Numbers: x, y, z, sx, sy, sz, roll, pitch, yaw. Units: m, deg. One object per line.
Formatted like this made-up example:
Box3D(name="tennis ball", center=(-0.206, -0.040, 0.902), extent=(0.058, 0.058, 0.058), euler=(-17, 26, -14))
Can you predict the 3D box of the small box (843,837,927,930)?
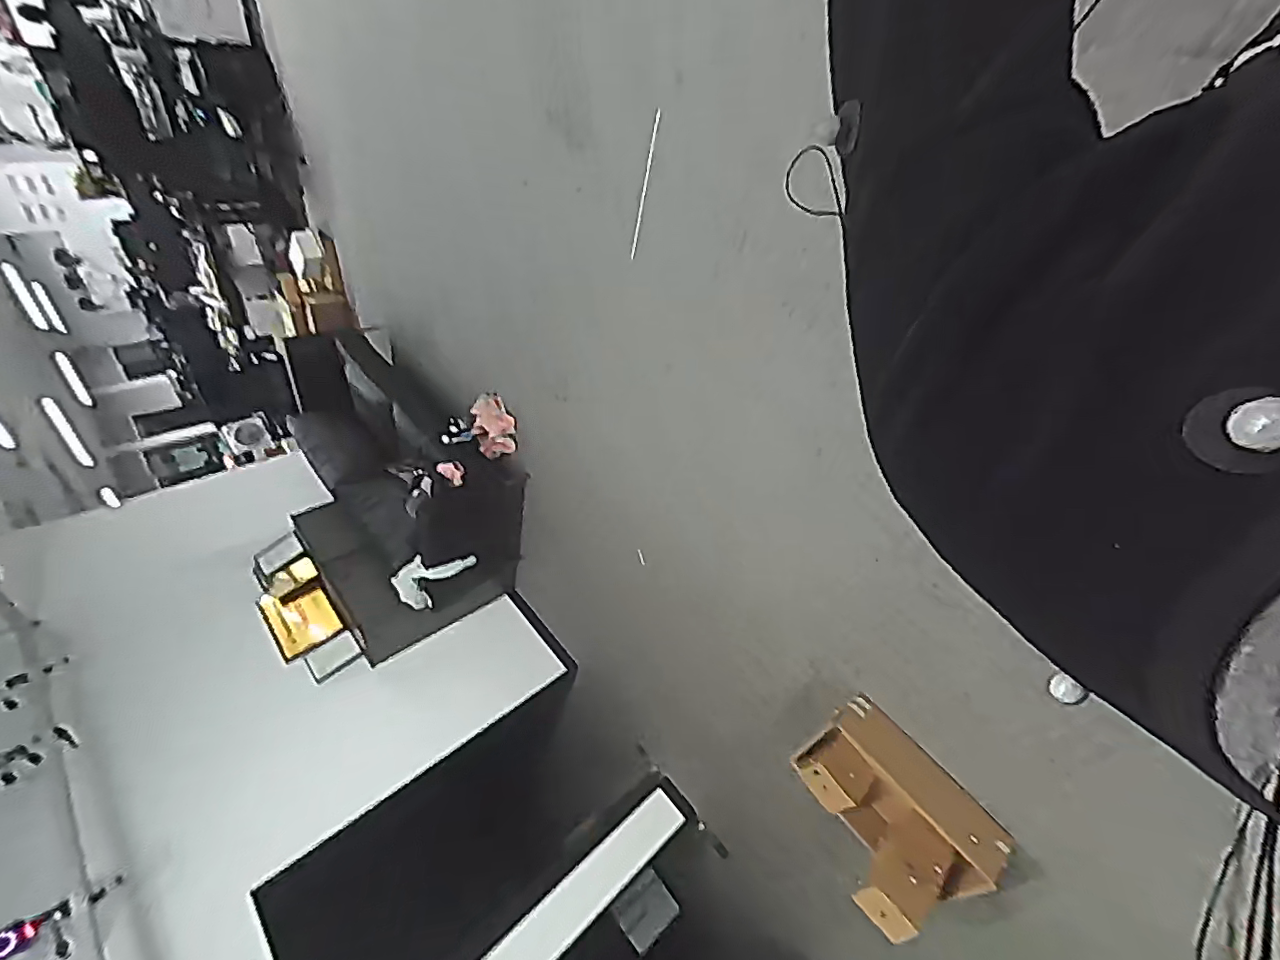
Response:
Box3D(name="small box", center=(0.829, 1.356, 1.821), extent=(0.168, 0.176, 0.179), euler=(41, 136, 27))
